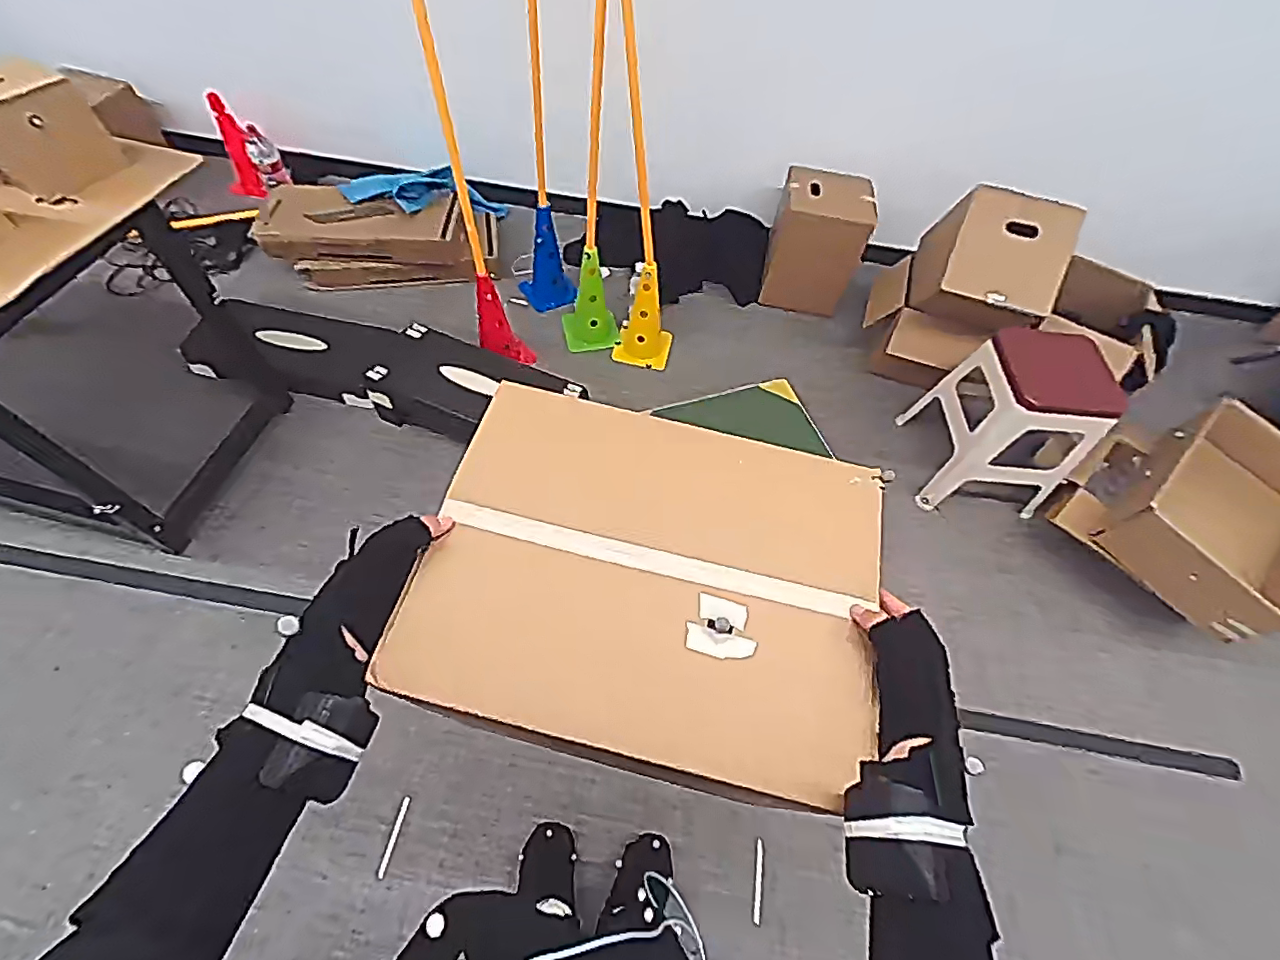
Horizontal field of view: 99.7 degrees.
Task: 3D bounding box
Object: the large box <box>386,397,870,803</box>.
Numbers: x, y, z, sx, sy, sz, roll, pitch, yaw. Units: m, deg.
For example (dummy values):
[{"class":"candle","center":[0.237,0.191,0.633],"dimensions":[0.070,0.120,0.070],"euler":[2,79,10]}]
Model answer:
[{"class":"large box","center":[0.002,0.153,0.631],"dimensions":[0.408,0.320,0.320],"euler":[14,61,2]}]
